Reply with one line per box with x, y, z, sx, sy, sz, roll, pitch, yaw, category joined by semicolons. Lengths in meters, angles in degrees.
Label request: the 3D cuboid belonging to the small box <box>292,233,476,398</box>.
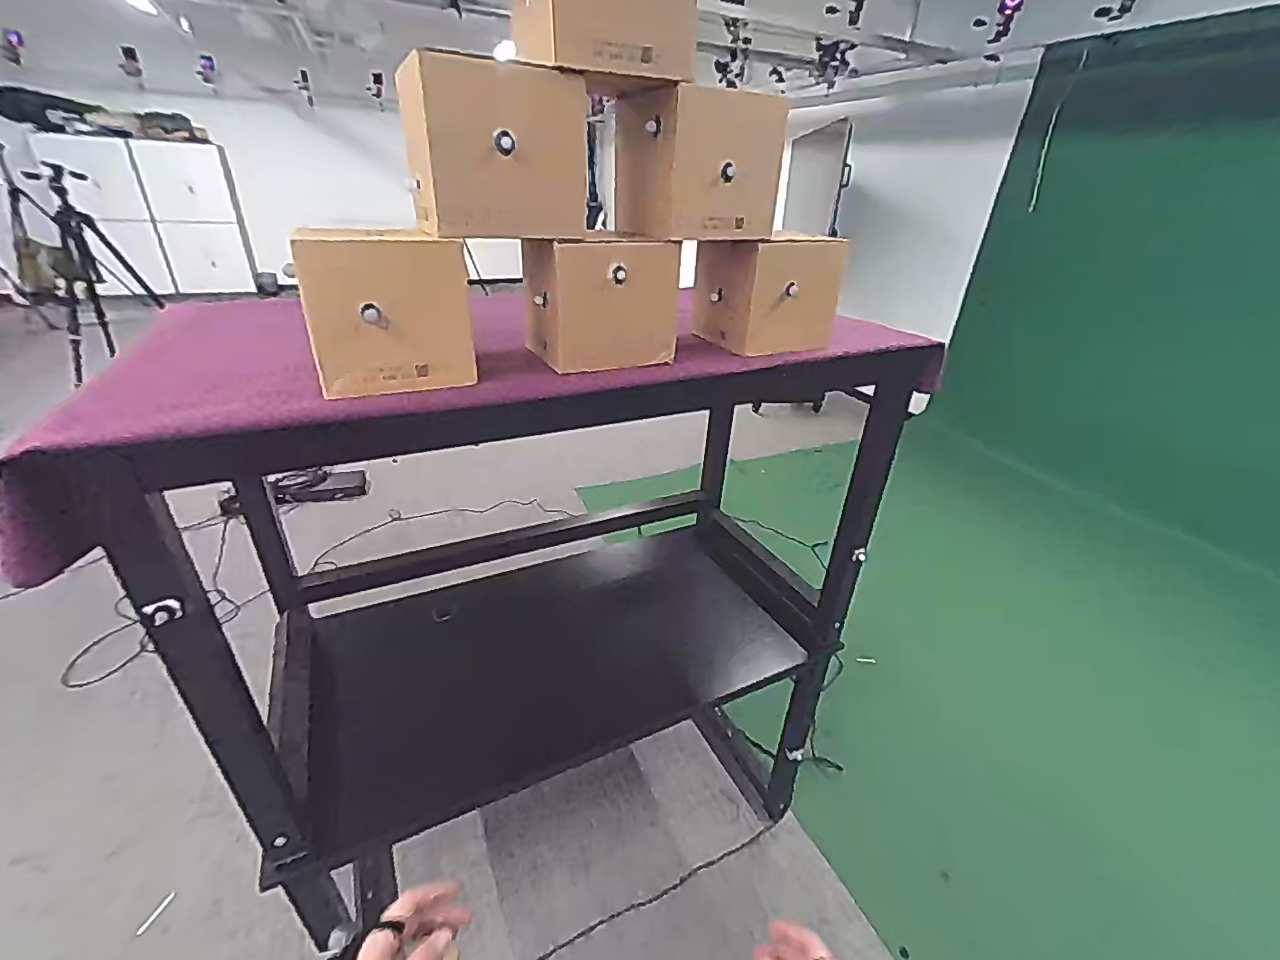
-0.304;-0.202;0.657;0.168;0.176;0.179;-11;30;-25;small box

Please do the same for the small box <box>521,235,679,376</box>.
-0.060;-0.252;0.772;0.179;0.176;0.168;-10;30;-24;small box

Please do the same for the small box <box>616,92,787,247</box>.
0.075;-0.421;0.752;0.168;0.176;0.179;-12;31;-25;small box

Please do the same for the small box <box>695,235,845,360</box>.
0.202;-0.302;0.889;0.179;0.176;0.168;-13;33;-24;small box

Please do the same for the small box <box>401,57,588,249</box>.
-0.173;-0.377;0.646;0.179;0.176;0.168;-12;31;-25;small box
